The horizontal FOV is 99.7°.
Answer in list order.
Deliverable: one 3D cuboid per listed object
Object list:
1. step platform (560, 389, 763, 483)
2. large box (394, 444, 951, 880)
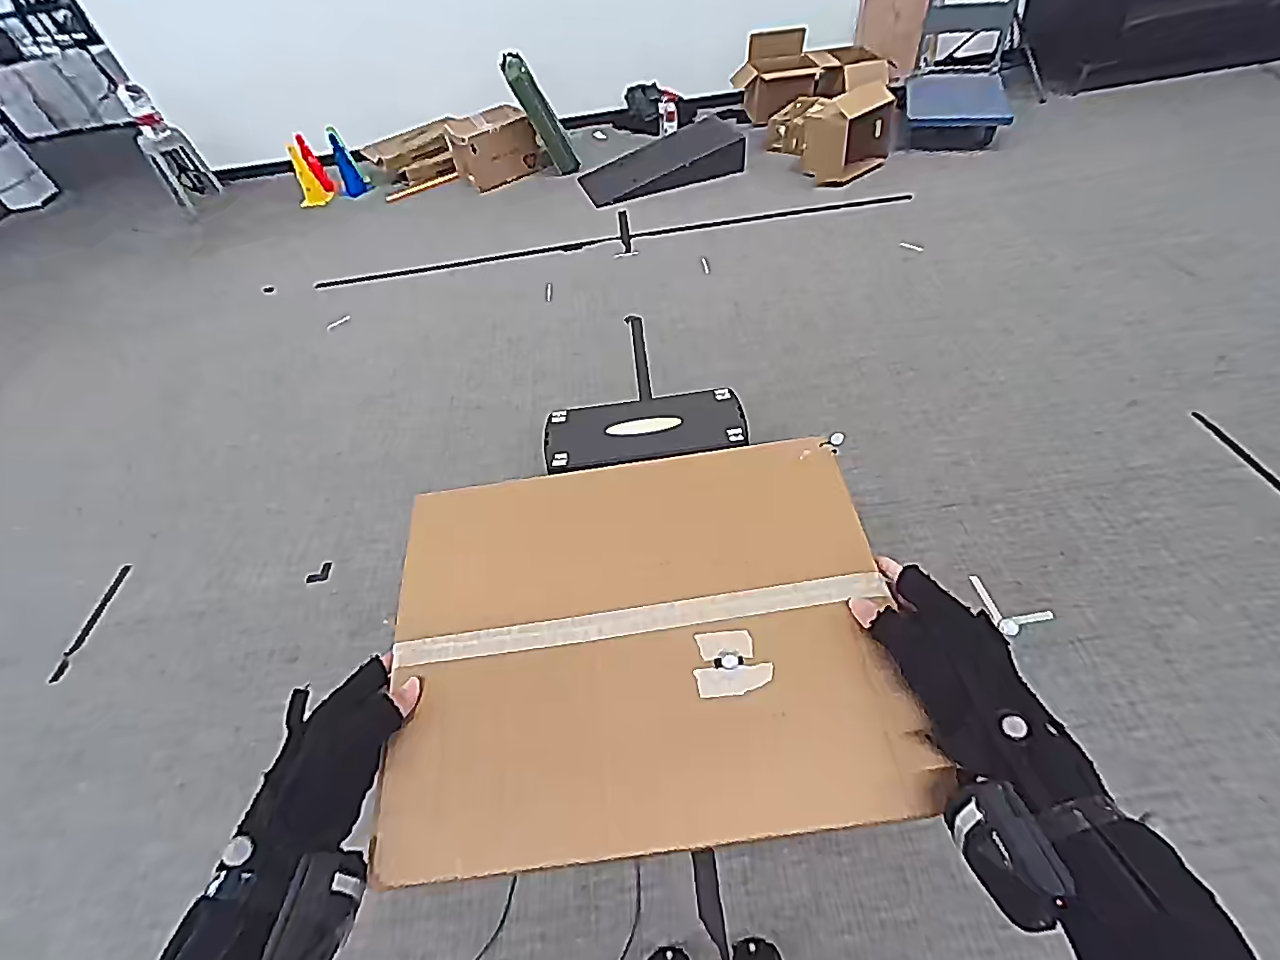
[{"bbox_3d":[0.071,-0.116,1.856,0.684,0.204,0.286,-8,50,0],"label":"step platform"},{"bbox_3d":[0.016,0.202,0.580,0.408,0.320,0.320,-8,57,1],"label":"large box"}]
